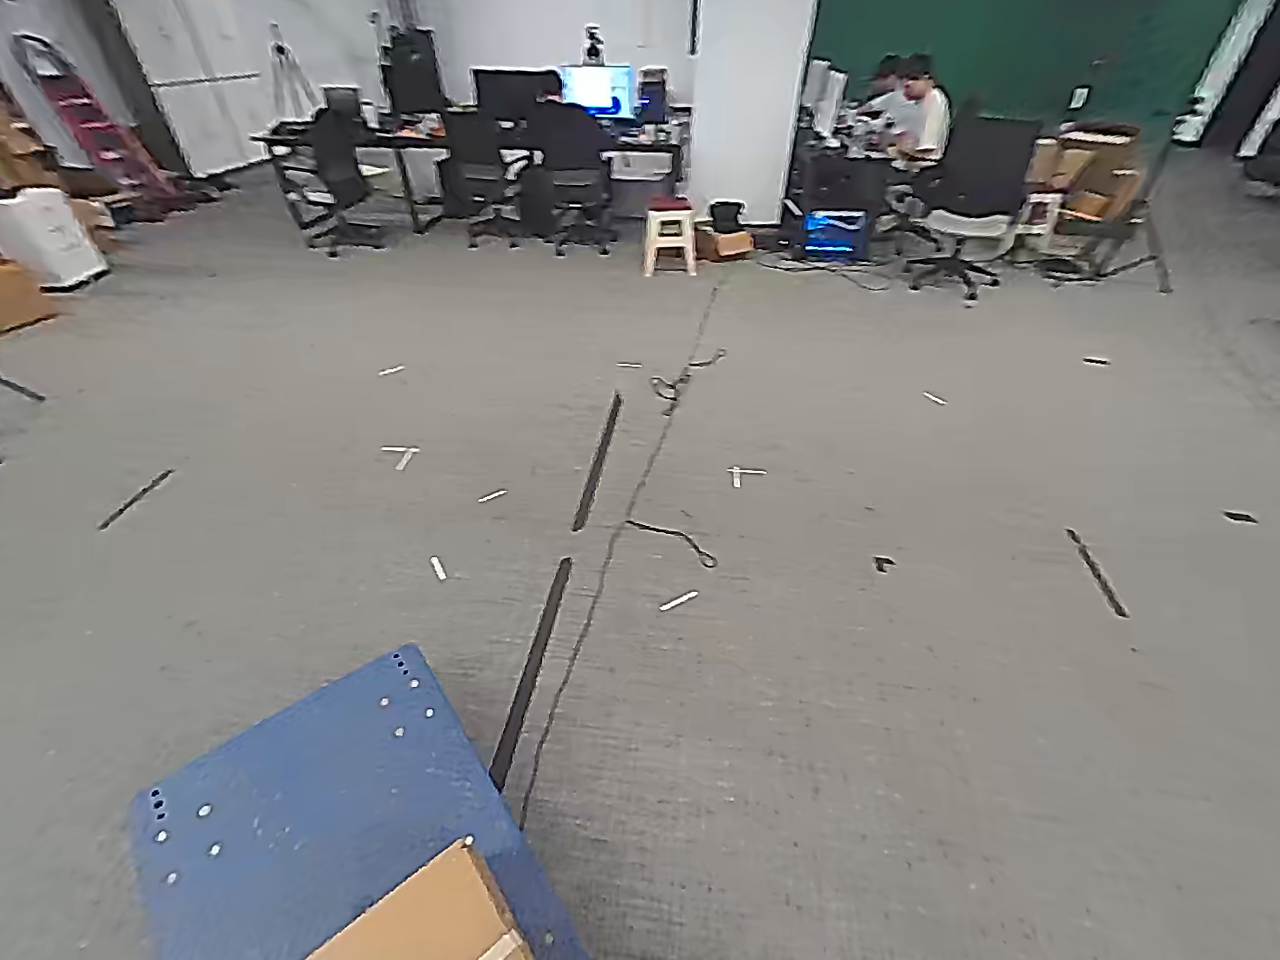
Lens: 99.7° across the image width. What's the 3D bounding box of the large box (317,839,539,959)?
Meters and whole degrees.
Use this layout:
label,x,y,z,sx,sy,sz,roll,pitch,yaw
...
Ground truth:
label,x,y,z,sx,sy,sz,roll,pitch,yaw
large box,-0.347,0.842,0.803,0.408,0.320,0.320,-28,61,-30
